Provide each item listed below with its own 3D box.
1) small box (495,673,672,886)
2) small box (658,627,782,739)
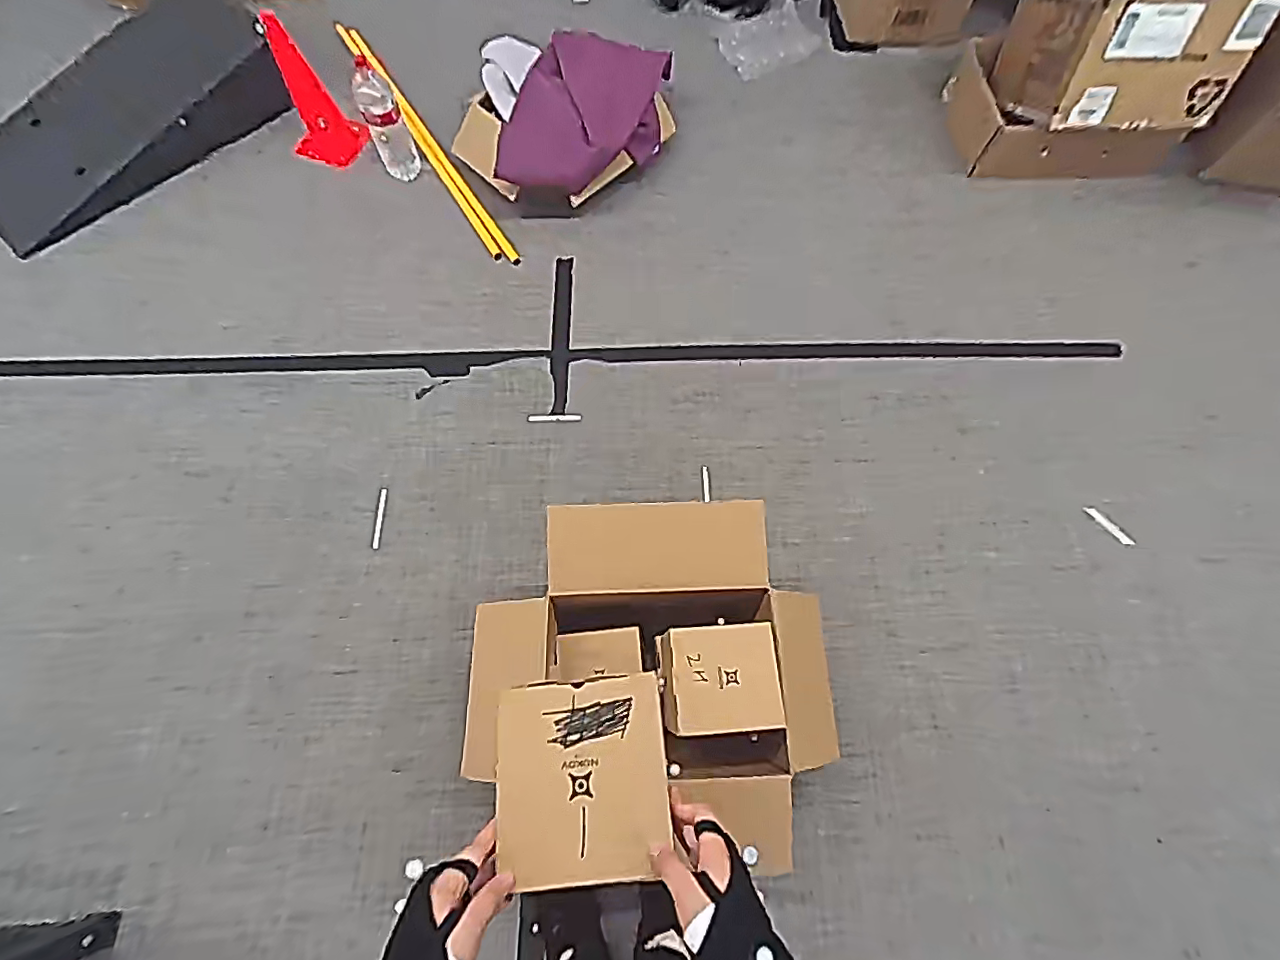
[{"bbox_3d":[-0.057,0.323,0.605,0.168,0.176,0.179,-5,65,-1],"label":"small box"},{"bbox_3d":[0.131,0.354,0.954,0.179,0.176,0.168,-3,69,-4],"label":"small box"}]
